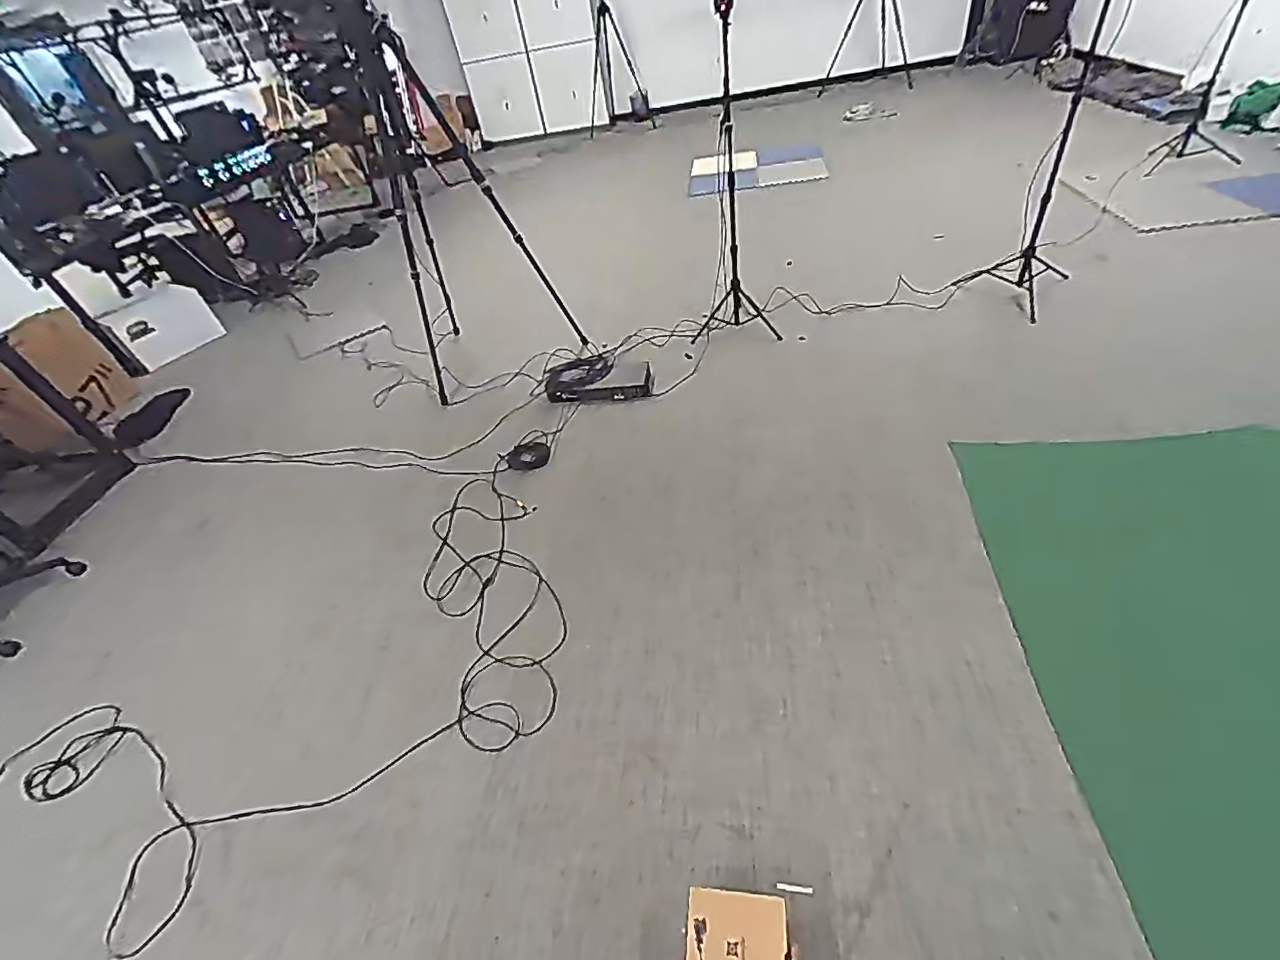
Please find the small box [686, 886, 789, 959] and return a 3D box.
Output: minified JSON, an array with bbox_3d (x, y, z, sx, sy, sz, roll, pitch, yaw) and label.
[{"bbox_3d":[0.179,0.866,0.986,0.179,0.176,0.168,-2,44,11],"label":"small box"}]
